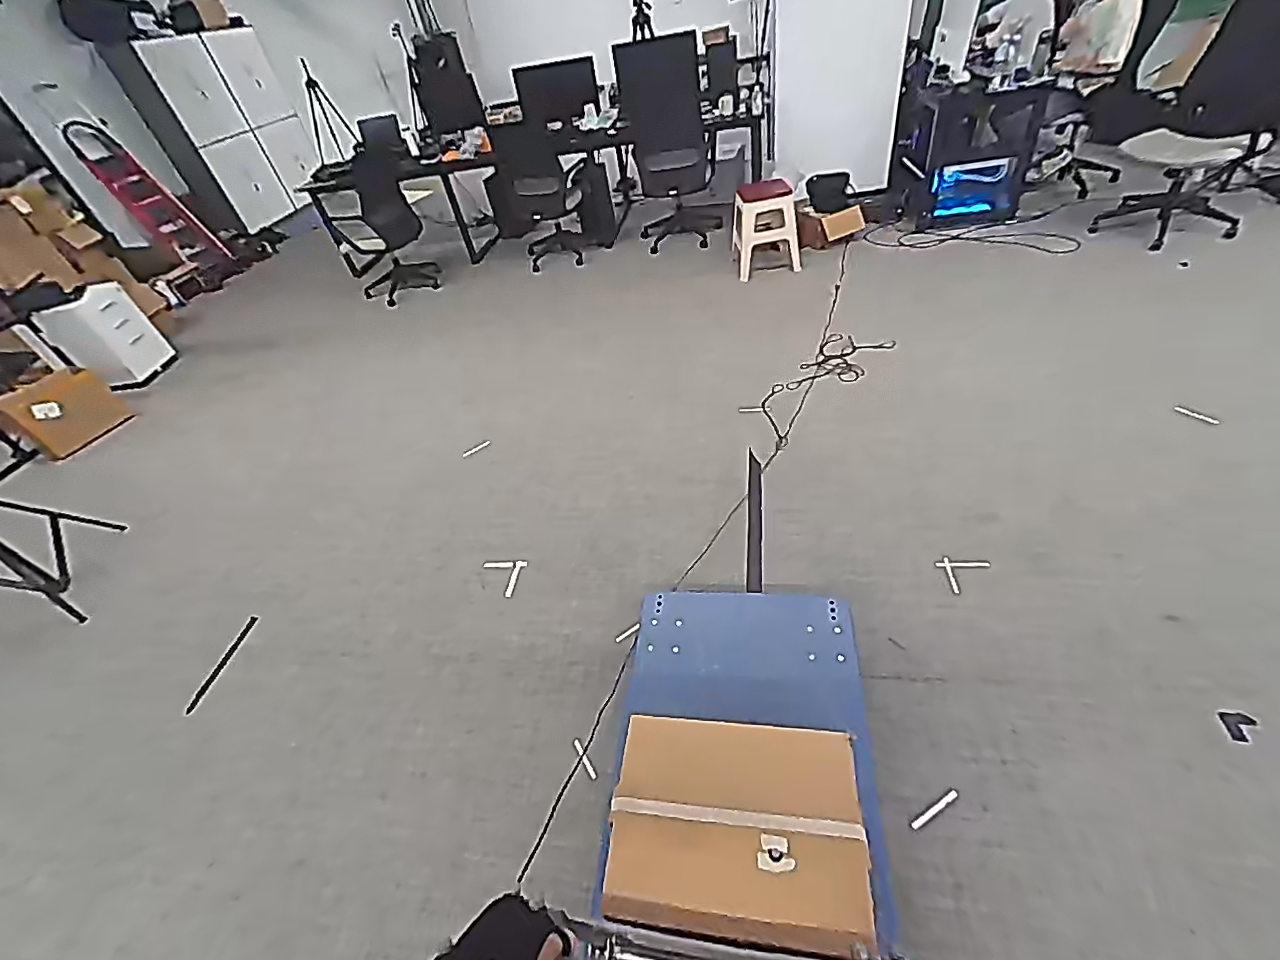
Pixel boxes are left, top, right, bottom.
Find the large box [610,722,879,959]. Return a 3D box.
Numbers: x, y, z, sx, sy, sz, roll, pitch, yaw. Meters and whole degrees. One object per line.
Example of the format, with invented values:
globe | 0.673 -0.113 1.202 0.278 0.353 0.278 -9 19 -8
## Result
large box | 0.185 0.680 1.004 0.408 0.320 0.320 -1 44 12
